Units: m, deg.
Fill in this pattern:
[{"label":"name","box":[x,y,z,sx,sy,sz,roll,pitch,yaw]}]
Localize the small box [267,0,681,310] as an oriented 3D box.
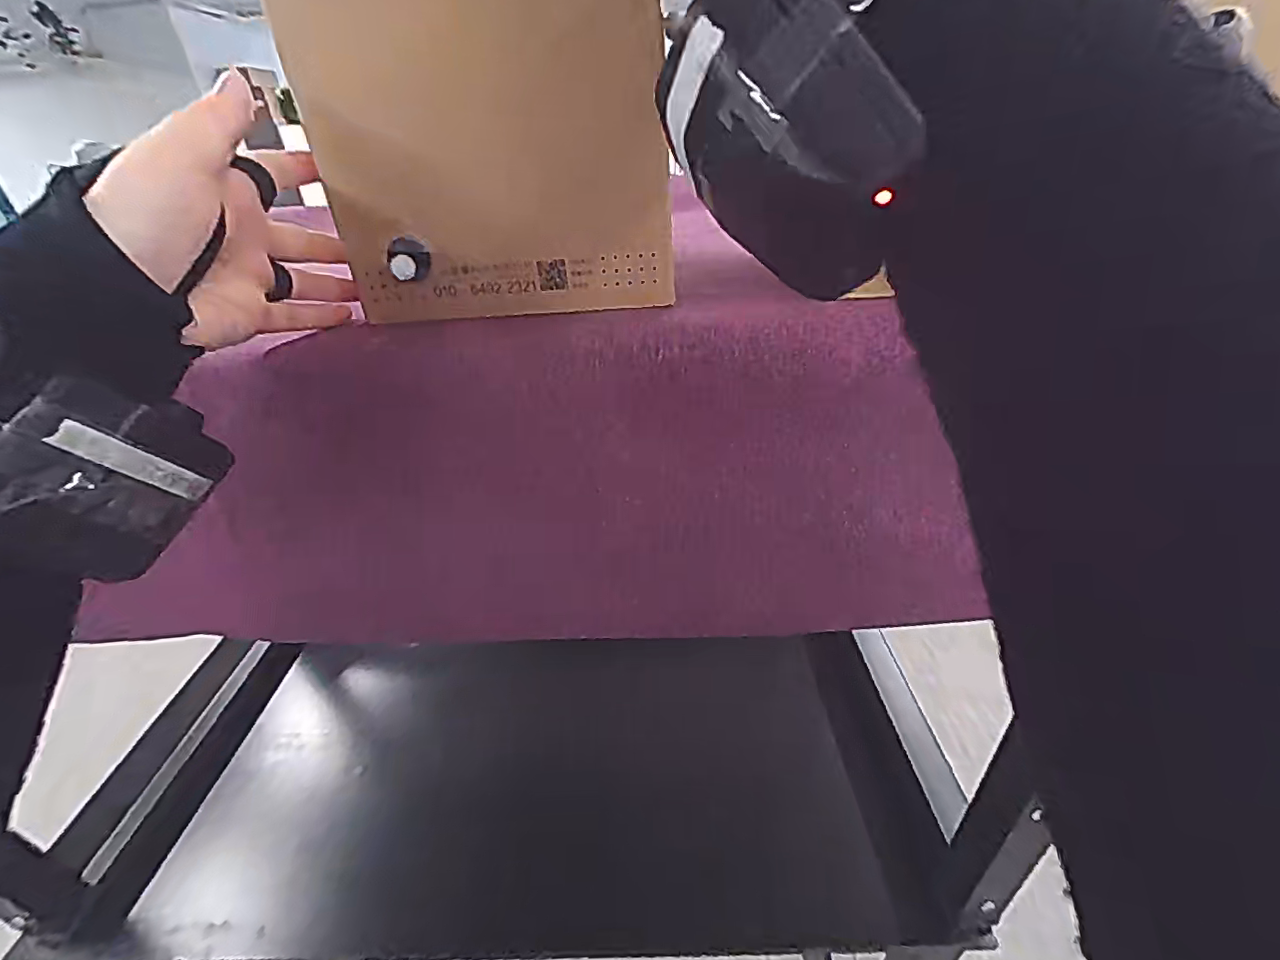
[{"label":"small box","box":[-0.064,-0.199,0.310,0.168,0.176,0.179,-3,31,2]}]
